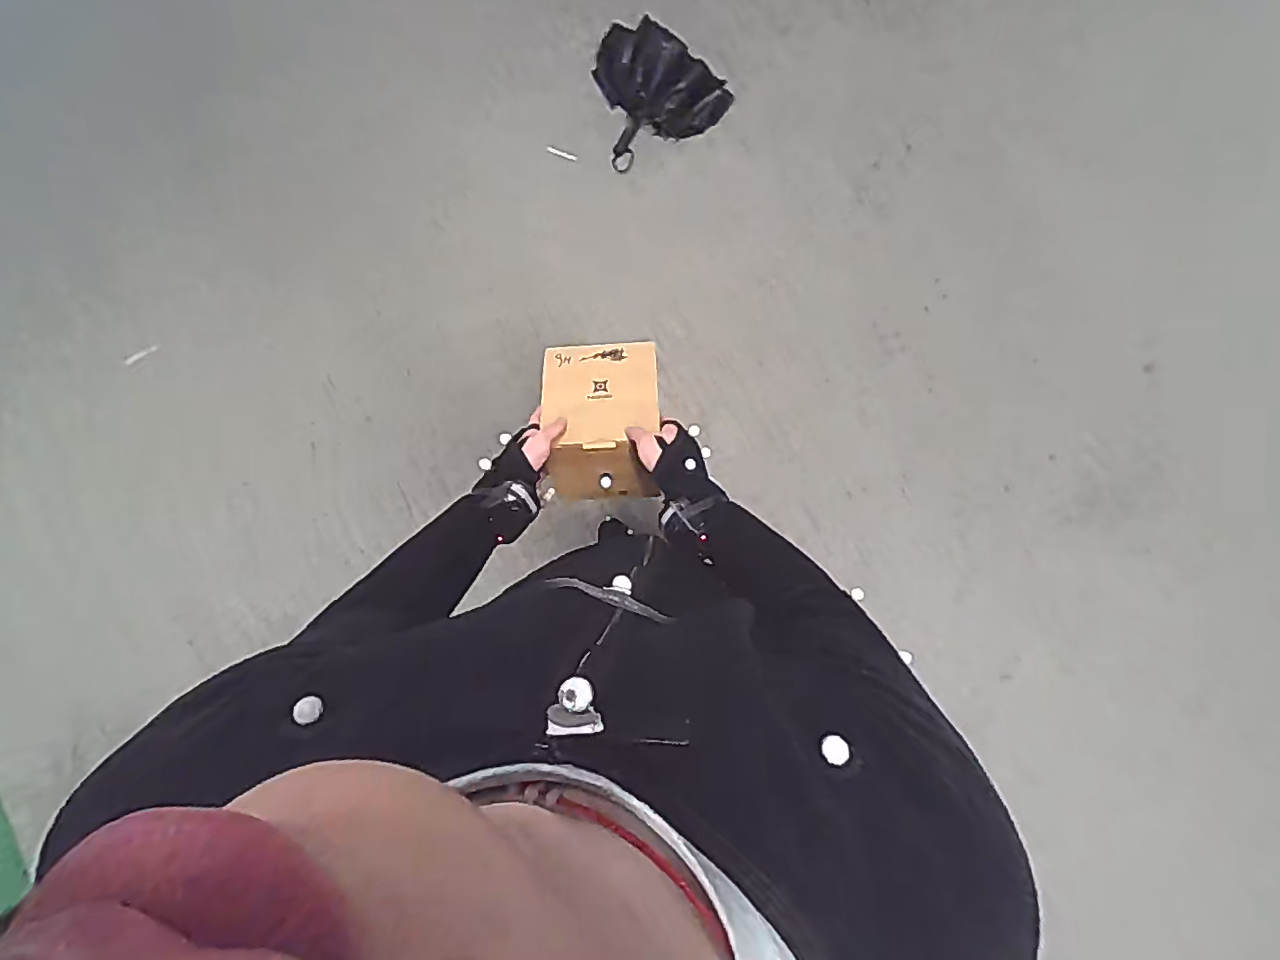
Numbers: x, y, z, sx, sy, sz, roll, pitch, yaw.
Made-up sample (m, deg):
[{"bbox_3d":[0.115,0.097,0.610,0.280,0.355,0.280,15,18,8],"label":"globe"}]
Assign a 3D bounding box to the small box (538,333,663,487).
[{"bbox_3d":[-0.053,-0.098,0.826,0.168,0.176,0.179,-4,63,2],"label":"small box"}]
